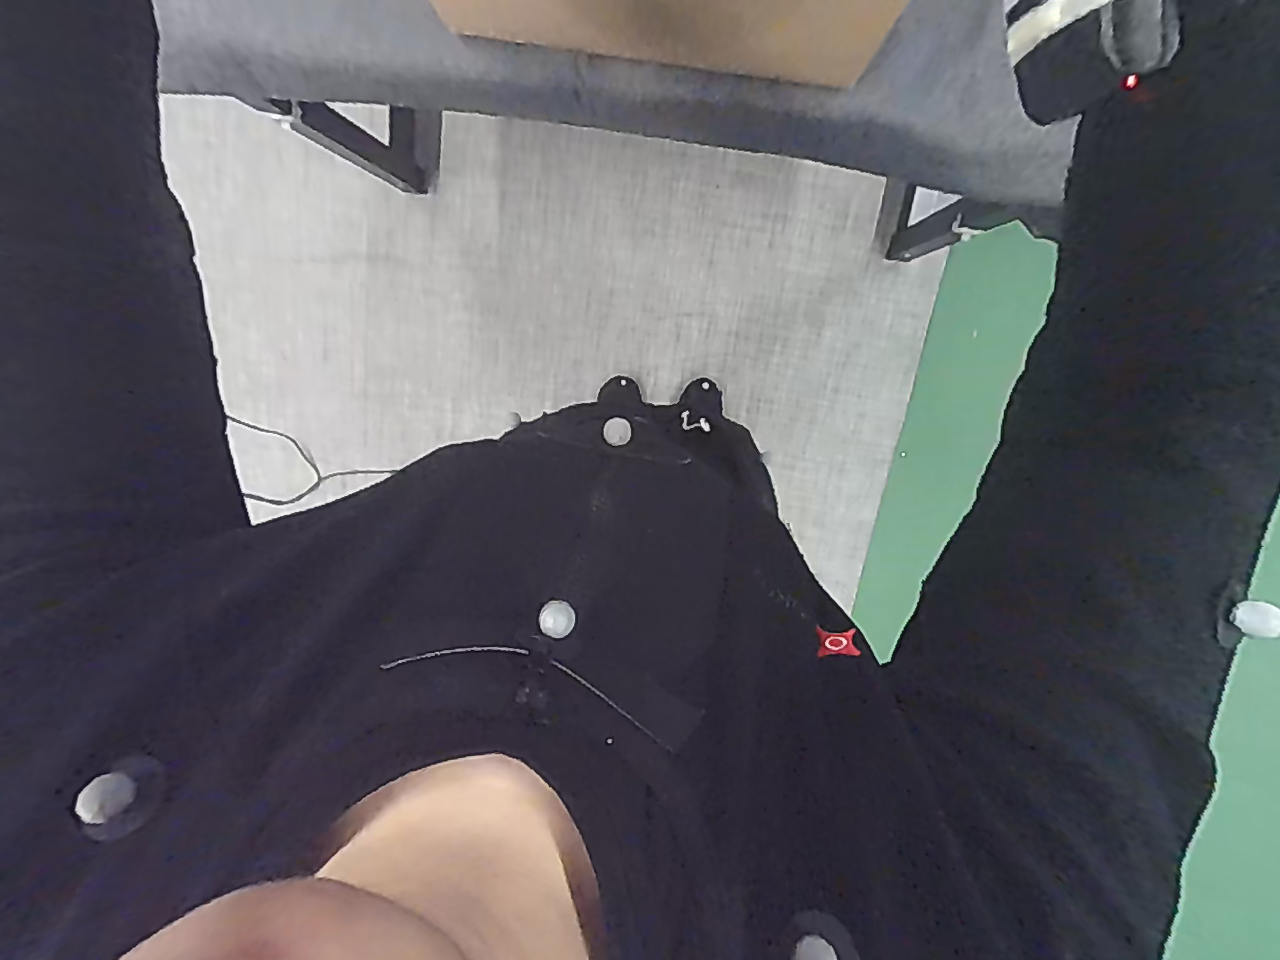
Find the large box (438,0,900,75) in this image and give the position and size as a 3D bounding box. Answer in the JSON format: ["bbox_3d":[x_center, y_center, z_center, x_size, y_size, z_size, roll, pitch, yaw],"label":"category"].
[{"bbox_3d":[0.022,-0.533,0.354,0.408,0.320,0.320,8,103,1],"label":"large box"}]
